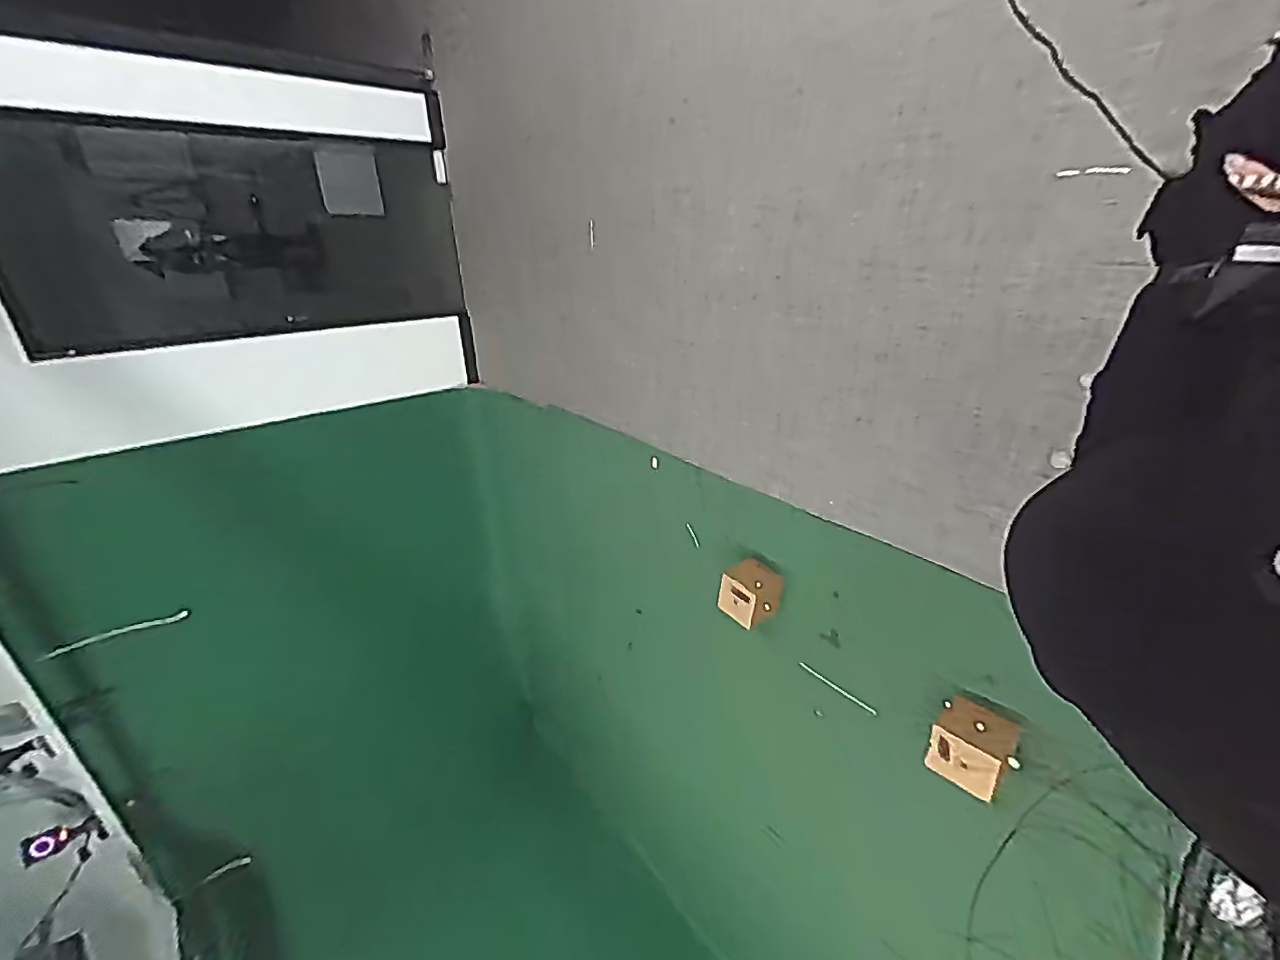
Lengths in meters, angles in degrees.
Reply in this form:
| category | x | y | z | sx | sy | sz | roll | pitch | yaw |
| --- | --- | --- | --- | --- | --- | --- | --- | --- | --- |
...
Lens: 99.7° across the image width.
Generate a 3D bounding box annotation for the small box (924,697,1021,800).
| category | x | y | z | sx | sy | sz | roll | pitch | yaw |
| --- | --- | --- | --- | --- | --- | --- | --- | --- | --- |
| small box | 0.958 | 0.761 | 1.560 | 0.179 | 0.176 | 0.168 | 22 | 123 | 45 |
